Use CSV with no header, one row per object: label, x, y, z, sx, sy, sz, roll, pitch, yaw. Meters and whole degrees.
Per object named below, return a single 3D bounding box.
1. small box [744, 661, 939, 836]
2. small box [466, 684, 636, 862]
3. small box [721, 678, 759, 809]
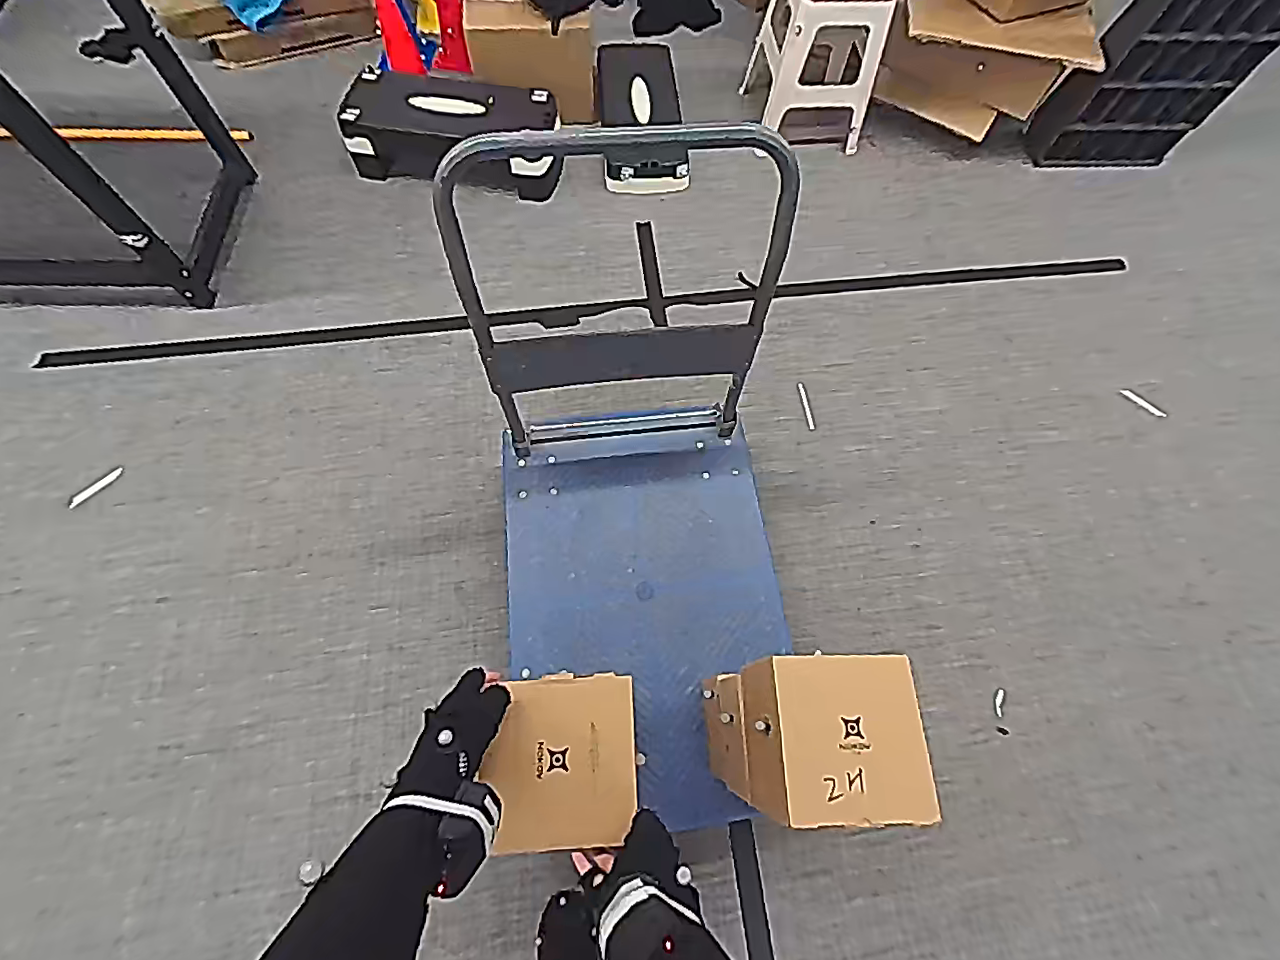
small box,0.231,0.326,0.672,0.168,0.176,0.179,1,66,-2
small box,-0.094,0.337,0.649,0.179,0.176,0.168,-1,70,-3
small box,0.223,0.394,0.822,0.179,0.176,0.168,0,66,-4
